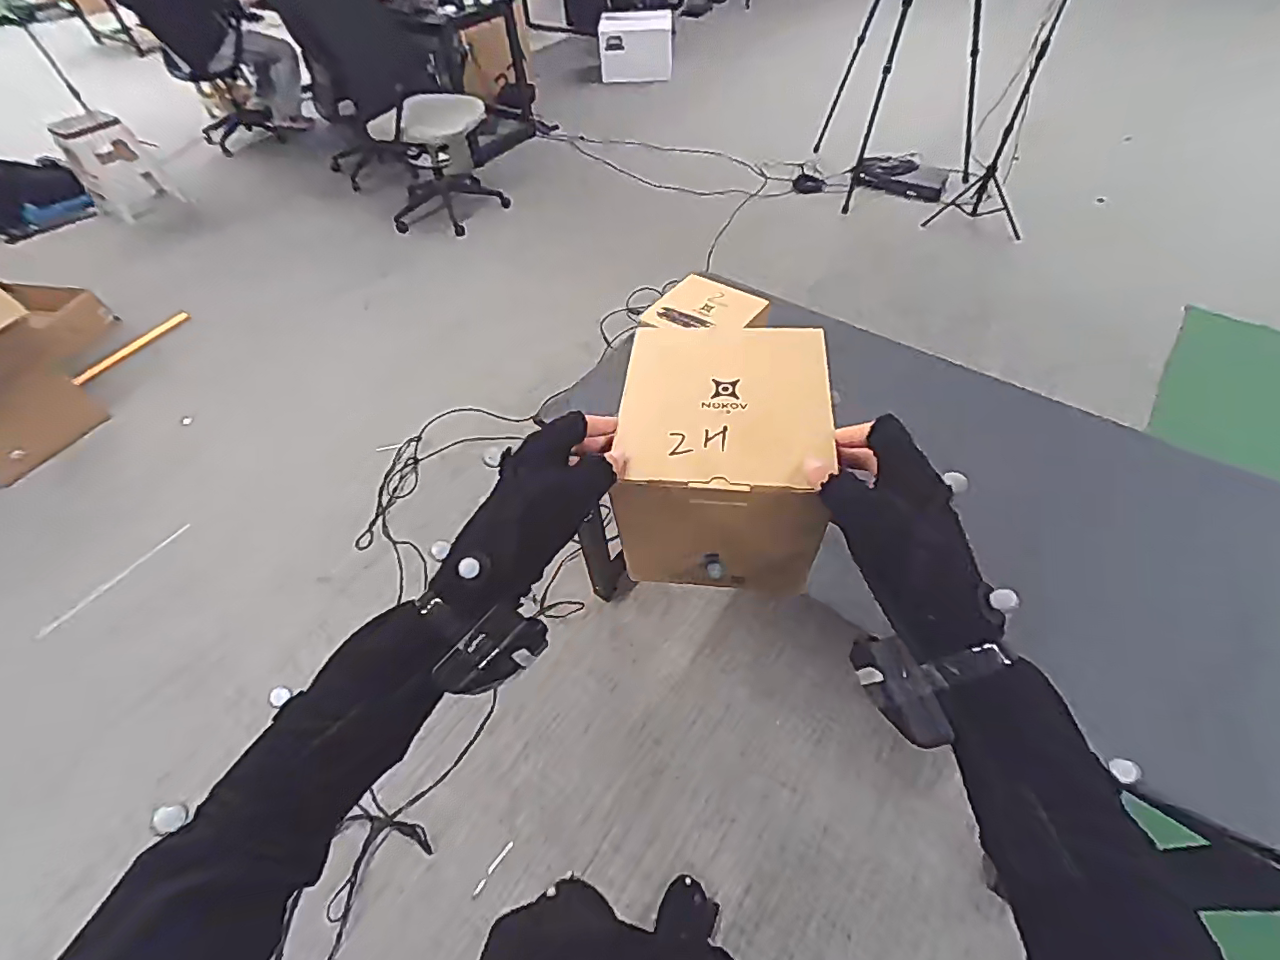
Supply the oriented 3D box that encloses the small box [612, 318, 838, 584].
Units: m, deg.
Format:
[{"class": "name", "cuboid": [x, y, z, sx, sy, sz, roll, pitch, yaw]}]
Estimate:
[{"class": "small box", "cuboid": [0.077, -0.025, 0.500, 0.168, 0.176, 0.179, 4, 56, 9]}]
